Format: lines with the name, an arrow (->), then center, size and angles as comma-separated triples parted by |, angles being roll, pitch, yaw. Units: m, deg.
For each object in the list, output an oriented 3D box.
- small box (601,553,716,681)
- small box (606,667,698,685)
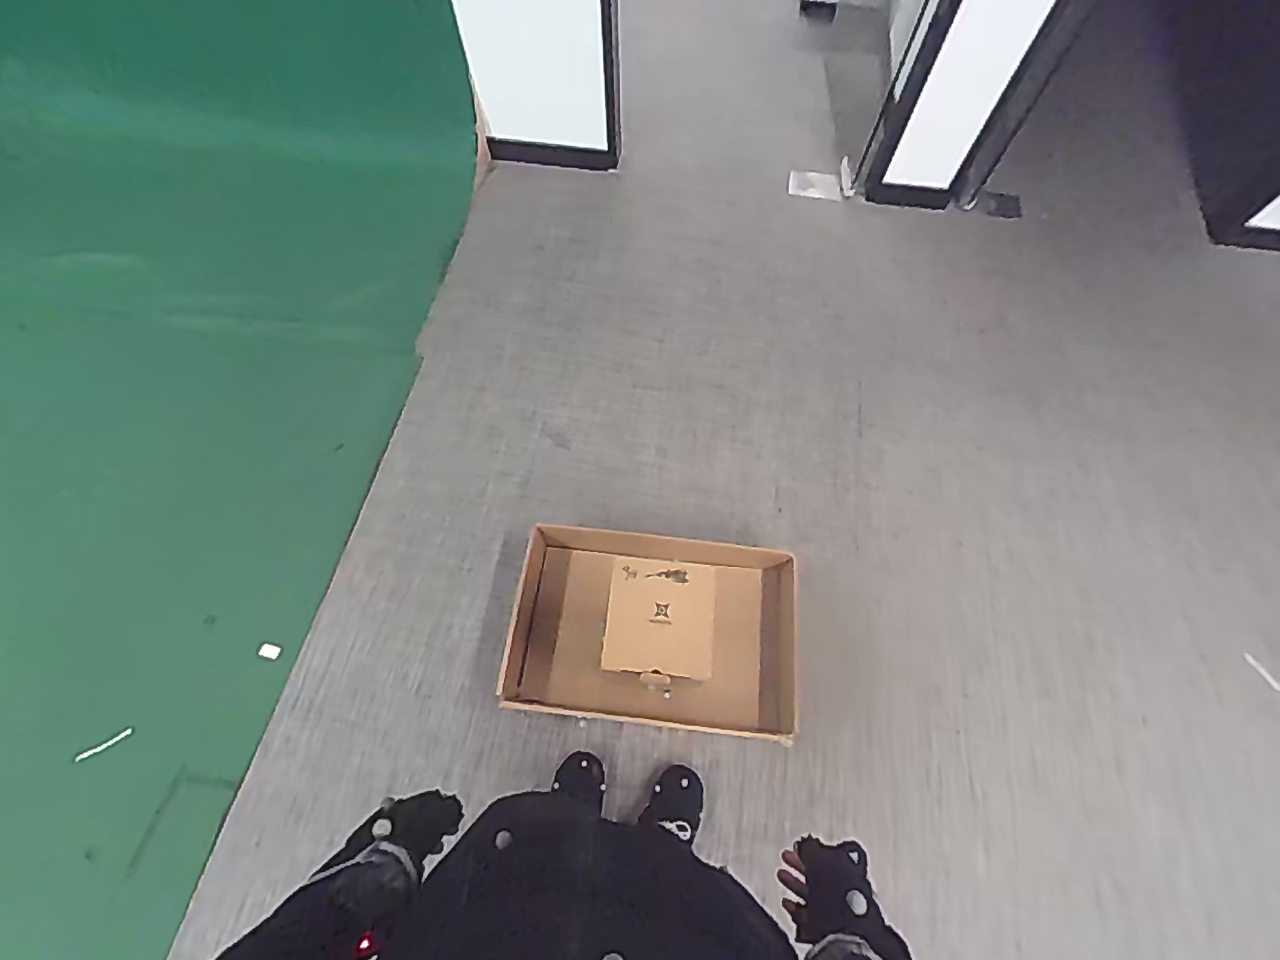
small box -> 0.031, 0.236, 0.909 | 0.168, 0.176, 0.179 | 6, 67, 1
small box -> 0.027, 0.297, 1.043 | 0.168, 0.176, 0.179 | 3, 66, 1
